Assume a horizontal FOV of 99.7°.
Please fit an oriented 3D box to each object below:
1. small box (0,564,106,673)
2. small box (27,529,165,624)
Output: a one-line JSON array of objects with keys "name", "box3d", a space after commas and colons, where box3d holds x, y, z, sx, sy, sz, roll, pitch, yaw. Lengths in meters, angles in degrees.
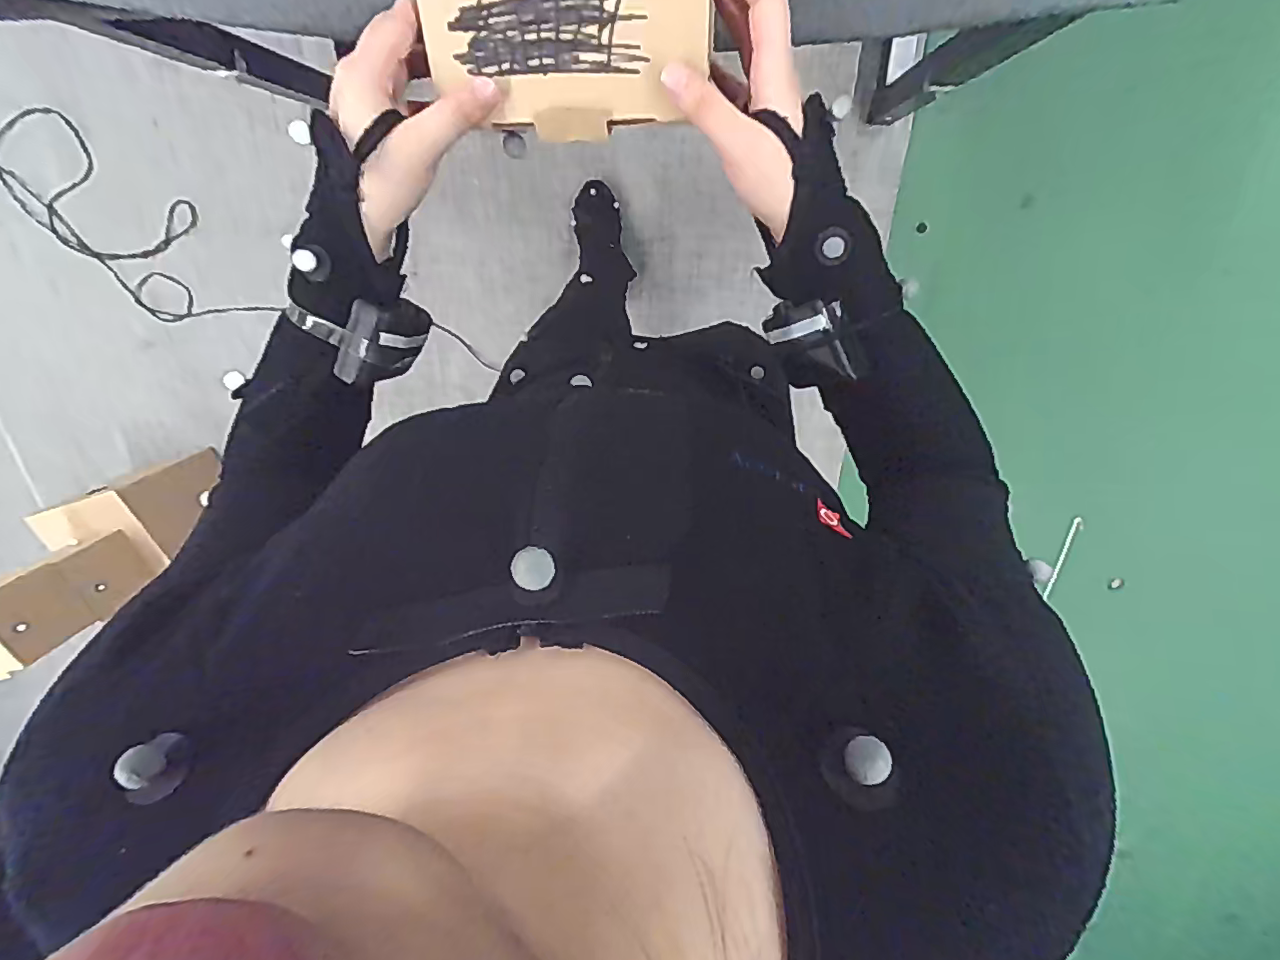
[{"name": "small box", "box3d": [-1.391, 0.306, 1.216, 0.168, 0.176, 0.179, -14, 113, 10]}, {"name": "small box", "box3d": [-1.376, 0.250, 1.368, 0.168, 0.176, 0.179, -14, 112, 10]}]
